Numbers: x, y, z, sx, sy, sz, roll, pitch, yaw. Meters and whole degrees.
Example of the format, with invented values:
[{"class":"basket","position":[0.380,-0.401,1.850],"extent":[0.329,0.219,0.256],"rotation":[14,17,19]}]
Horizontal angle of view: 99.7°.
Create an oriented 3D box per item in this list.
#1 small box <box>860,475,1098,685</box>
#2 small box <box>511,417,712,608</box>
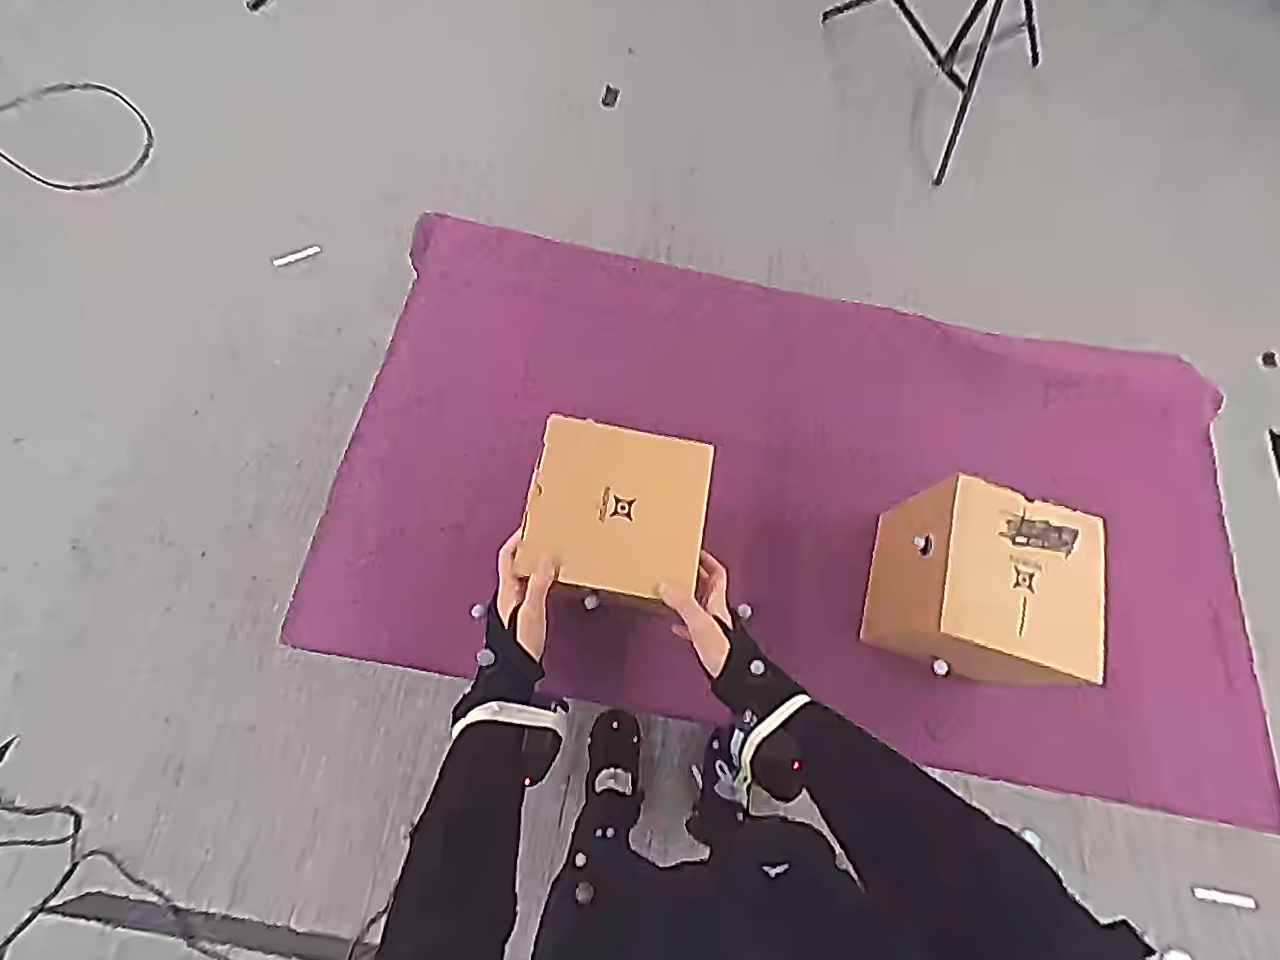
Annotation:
[{"class":"small box","position":[0.379,0.122,0.628],"extent":[0.168,0.176,0.179],"rotation":[19,70,1]},{"class":"small box","position":[-0.030,0.048,0.612],"extent":[0.179,0.176,0.168],"rotation":[11,73,-1]}]
